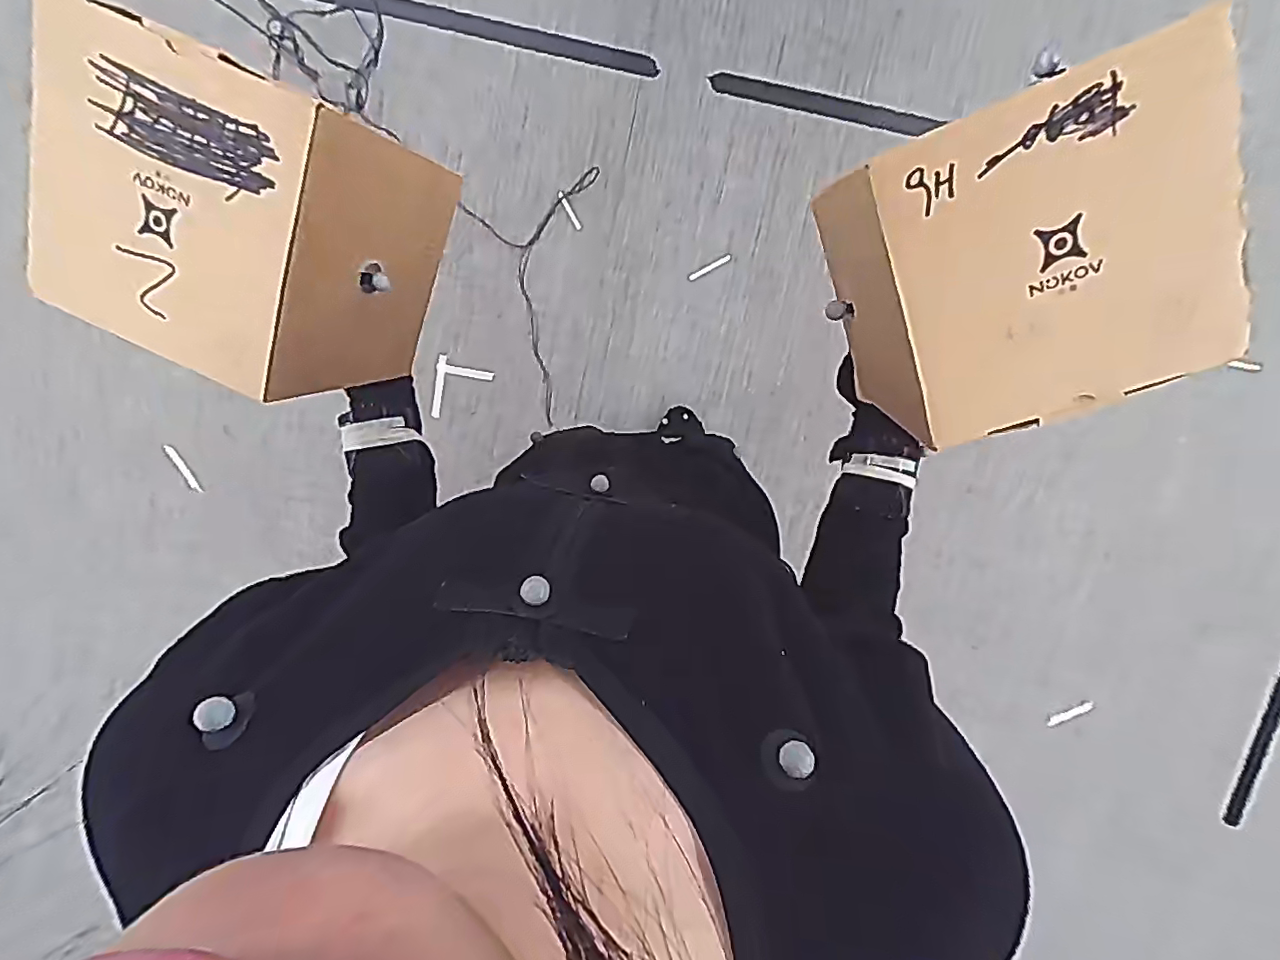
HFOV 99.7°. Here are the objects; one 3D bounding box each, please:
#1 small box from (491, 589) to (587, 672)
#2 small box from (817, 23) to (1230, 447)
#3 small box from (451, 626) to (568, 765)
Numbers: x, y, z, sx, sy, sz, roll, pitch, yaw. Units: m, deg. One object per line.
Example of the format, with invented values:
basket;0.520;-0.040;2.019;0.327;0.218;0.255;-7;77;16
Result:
small box;-0.226;0.350;1.153;0.179;0.176;0.168;21;96;1
small box;0.237;-0.148;0.373;0.168;0.176;0.179;-19;108;13
small box;-0.231;0.384;0.993;0.168;0.176;0.179;5;97;3
